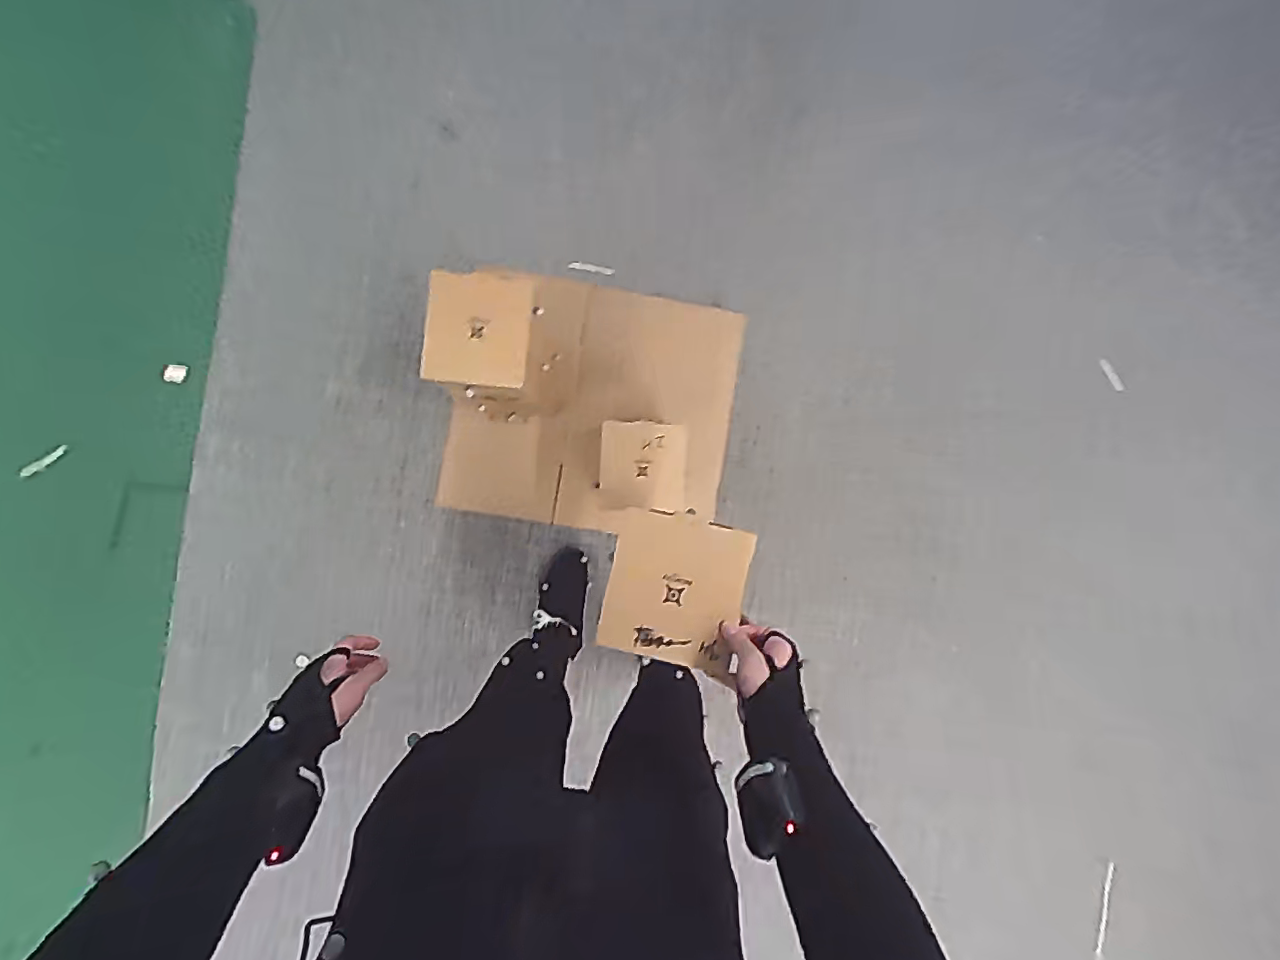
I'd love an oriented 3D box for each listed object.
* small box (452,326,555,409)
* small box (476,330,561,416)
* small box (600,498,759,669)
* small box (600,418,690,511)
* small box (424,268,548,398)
[{"bbox_3d":[-0.270,-0.245,1.101,0.168,0.176,0.179,5,90,-3],"label":"small box"},{"bbox_3d":[-0.278,-0.248,1.264,0.168,0.176,0.179,2,91,-3],"label":"small box"},{"bbox_3d":[0.052,0.134,0.730,0.168,0.176,0.179,12,83,5],"label":"small box"},{"bbox_3d":[0.006,-0.029,1.113,0.168,0.176,0.179,3,91,-4],"label":"small box"},{"bbox_3d":[-0.257,-0.243,0.939,0.168,0.176,0.179,6,90,-2],"label":"small box"}]
